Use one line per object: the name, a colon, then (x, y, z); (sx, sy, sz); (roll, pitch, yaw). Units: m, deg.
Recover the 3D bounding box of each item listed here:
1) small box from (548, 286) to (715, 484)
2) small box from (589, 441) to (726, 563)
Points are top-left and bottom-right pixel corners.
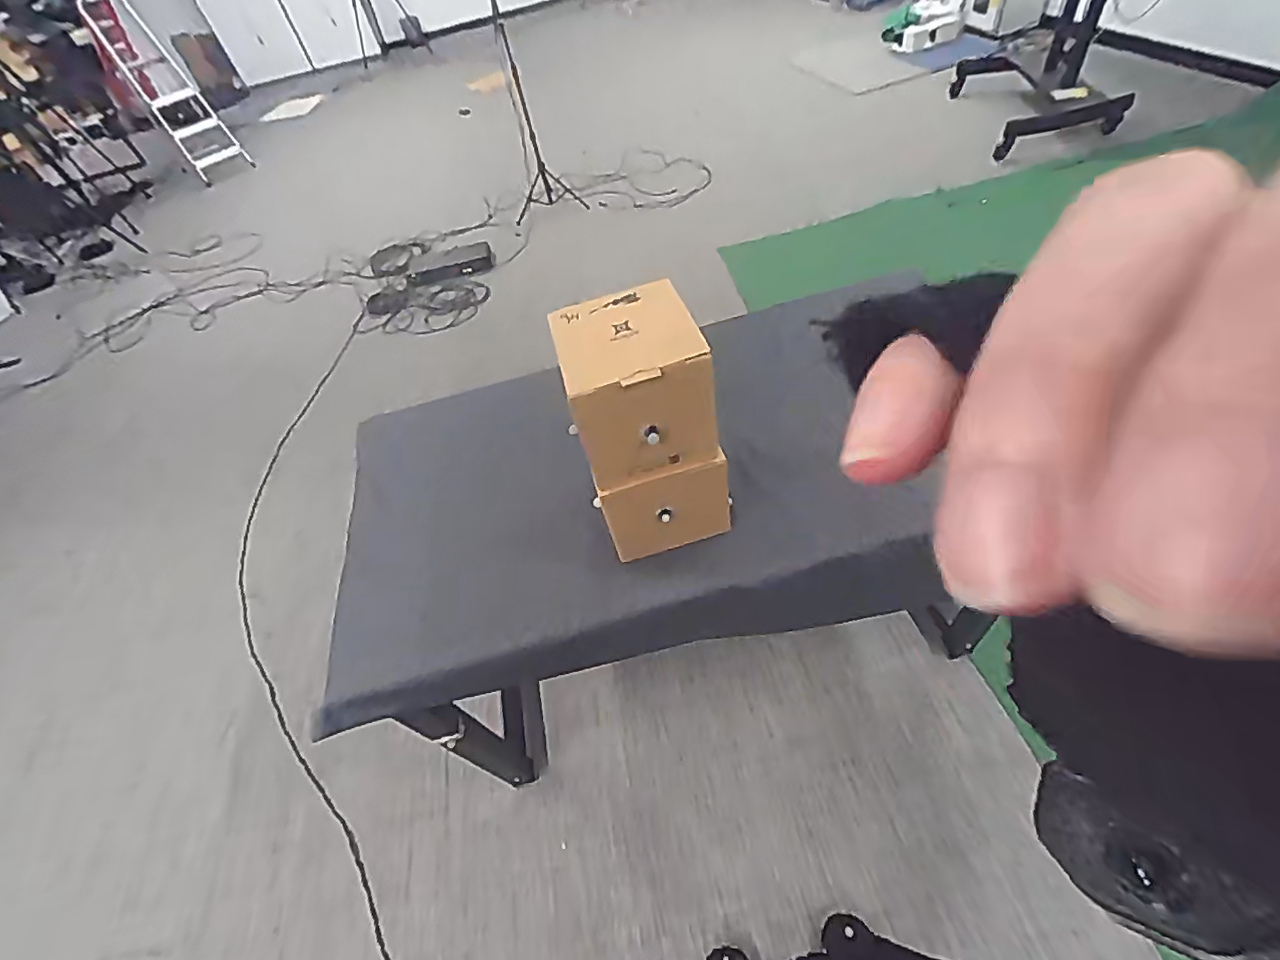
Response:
small box: (-0.008, -0.114, 0.699); (0.168, 0.176, 0.179); (-16, 49, -2)
small box: (0.023, -0.001, 0.814); (0.179, 0.176, 0.168); (-17, 49, -2)
